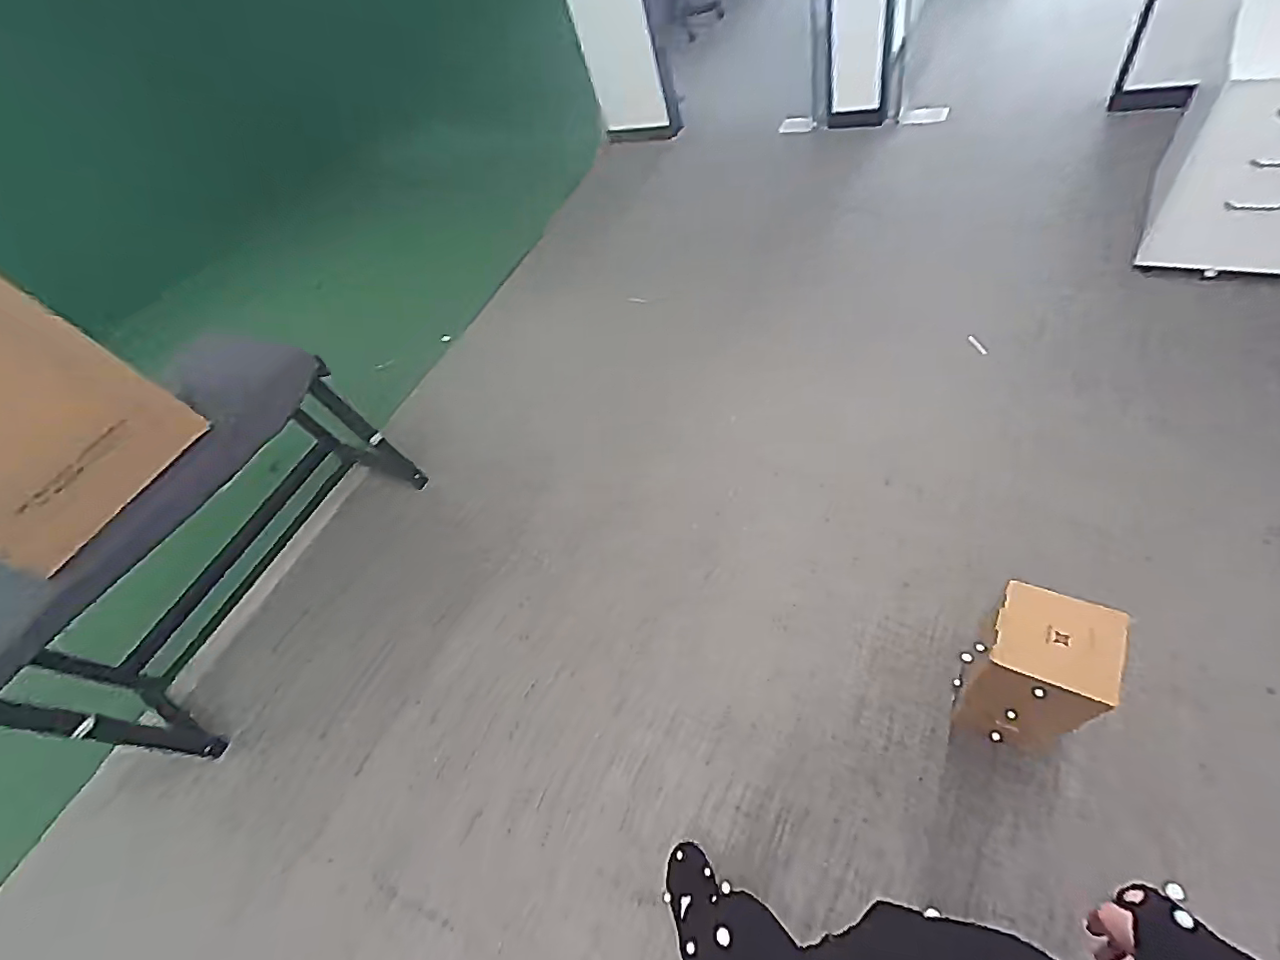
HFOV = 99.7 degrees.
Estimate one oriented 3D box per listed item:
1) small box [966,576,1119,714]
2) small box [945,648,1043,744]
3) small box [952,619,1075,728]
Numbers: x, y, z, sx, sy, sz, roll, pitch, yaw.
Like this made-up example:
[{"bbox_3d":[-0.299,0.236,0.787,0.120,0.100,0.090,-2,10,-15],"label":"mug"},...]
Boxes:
[{"bbox_3d":[0.723,0.306,0.989,0.179,0.176,0.168,18,65,26],"label":"small box"},{"bbox_3d":[0.822,0.482,1.246,0.168,0.176,0.179,18,64,27],"label":"small box"},{"bbox_3d":[0.772,0.391,1.117,0.179,0.176,0.168,16,63,28],"label":"small box"}]
